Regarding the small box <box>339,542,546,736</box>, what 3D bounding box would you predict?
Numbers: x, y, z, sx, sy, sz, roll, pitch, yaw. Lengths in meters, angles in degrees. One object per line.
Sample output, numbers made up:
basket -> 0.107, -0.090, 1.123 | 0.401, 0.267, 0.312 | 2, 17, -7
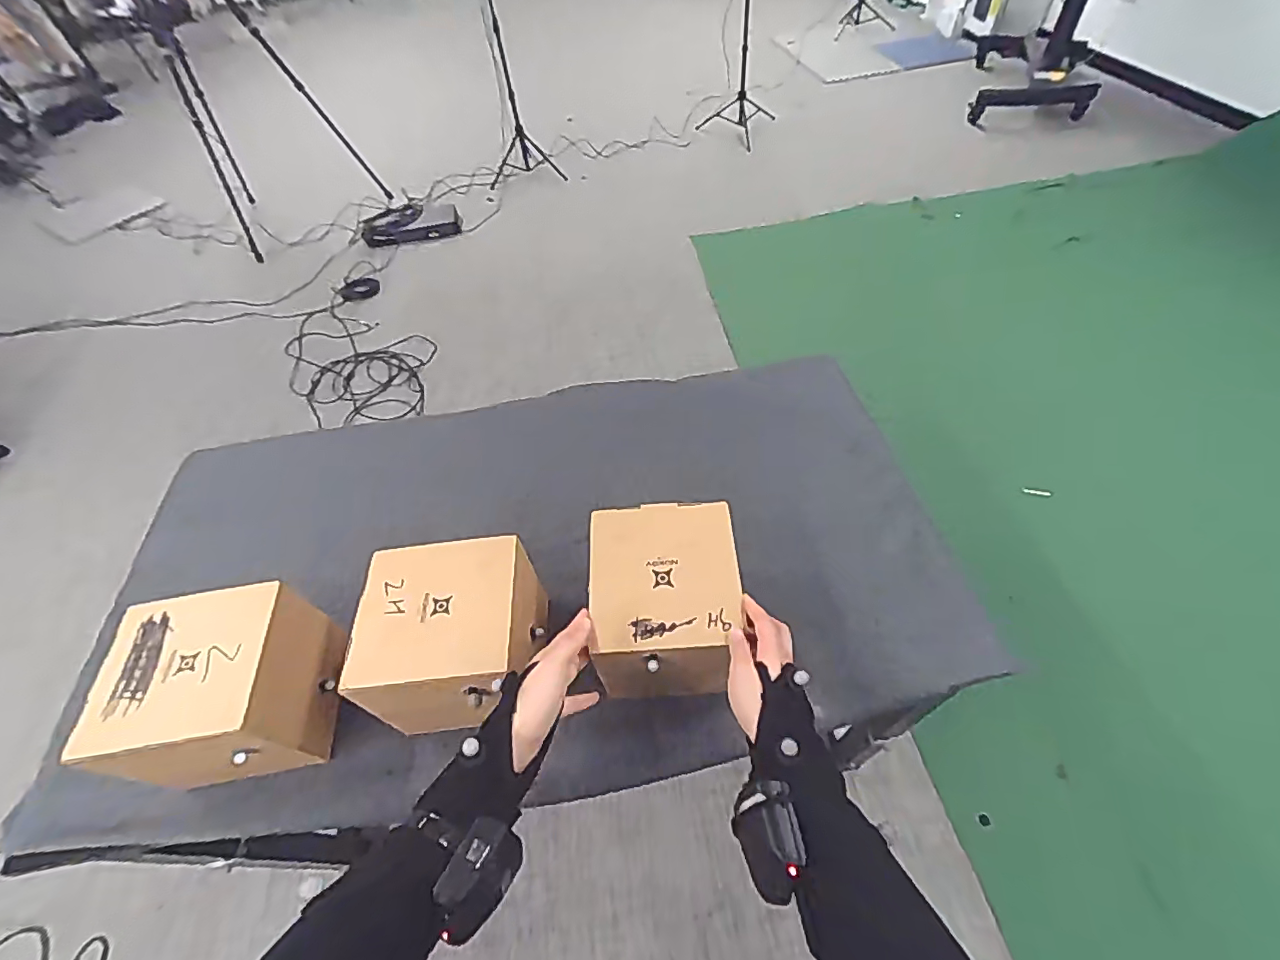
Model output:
small box -> -0.215, 0.194, 0.650 | 0.179, 0.176, 0.168 | -7, 50, 1
